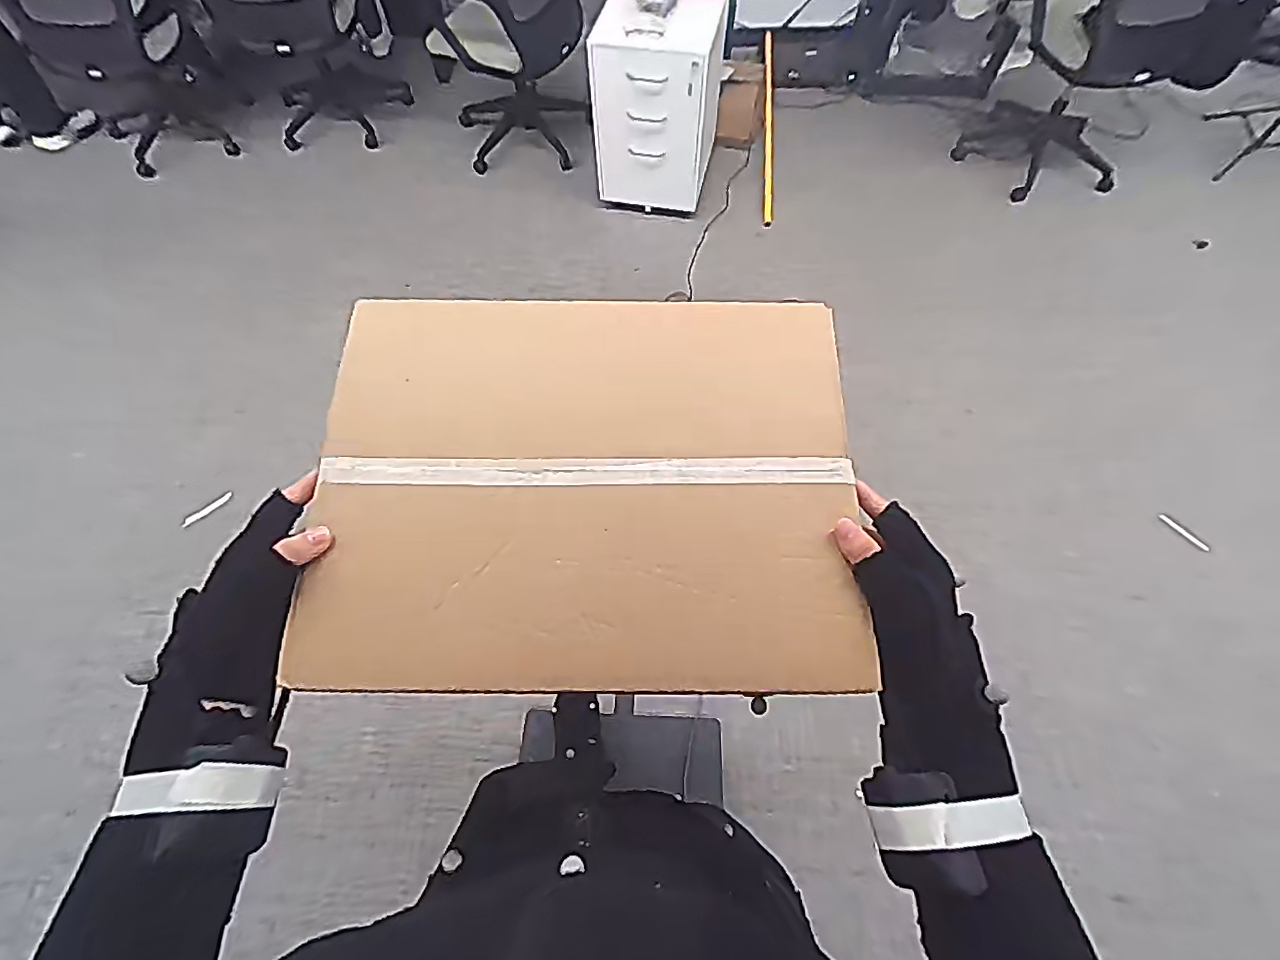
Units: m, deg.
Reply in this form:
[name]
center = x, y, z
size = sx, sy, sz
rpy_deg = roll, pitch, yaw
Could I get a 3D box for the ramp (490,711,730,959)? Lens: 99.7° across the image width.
[ramp]
center = -0.064, 0.995, 1.078
size = 0.509, 0.206, 0.991
rpy_deg = 0, 62, 2

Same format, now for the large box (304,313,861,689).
[large box]
center = -0.040, 0.047, 0.570
size = 0.408, 0.320, 0.320
rpy_deg = 0, 70, 0
